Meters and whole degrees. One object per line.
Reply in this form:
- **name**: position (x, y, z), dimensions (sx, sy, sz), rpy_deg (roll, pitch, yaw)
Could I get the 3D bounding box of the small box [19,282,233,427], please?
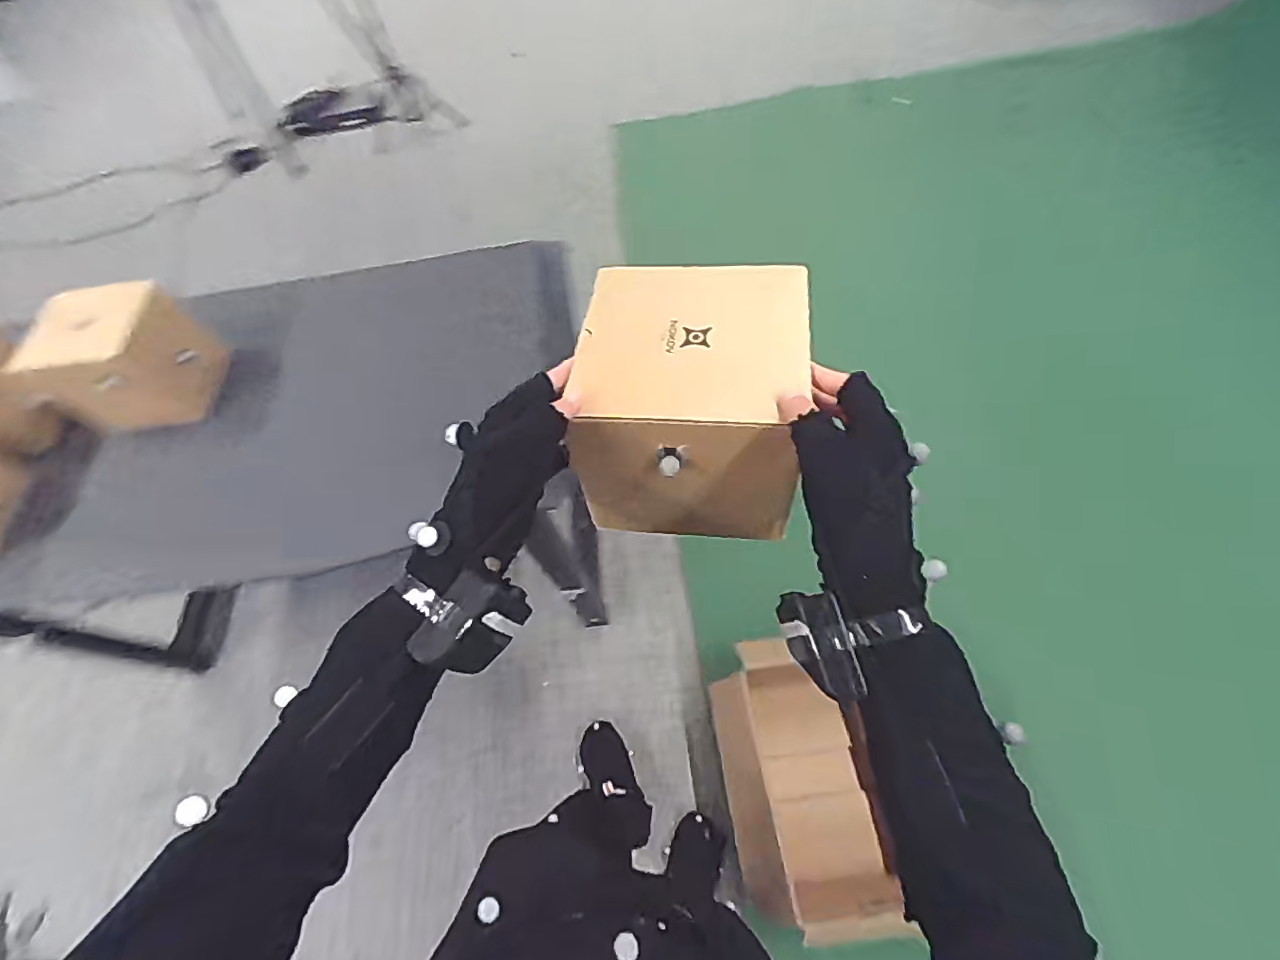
- **small box**: position (-0.849, -0.206, 0.918), dimensions (0.179, 0.176, 0.168), rpy_deg (-6, 61, 4)
